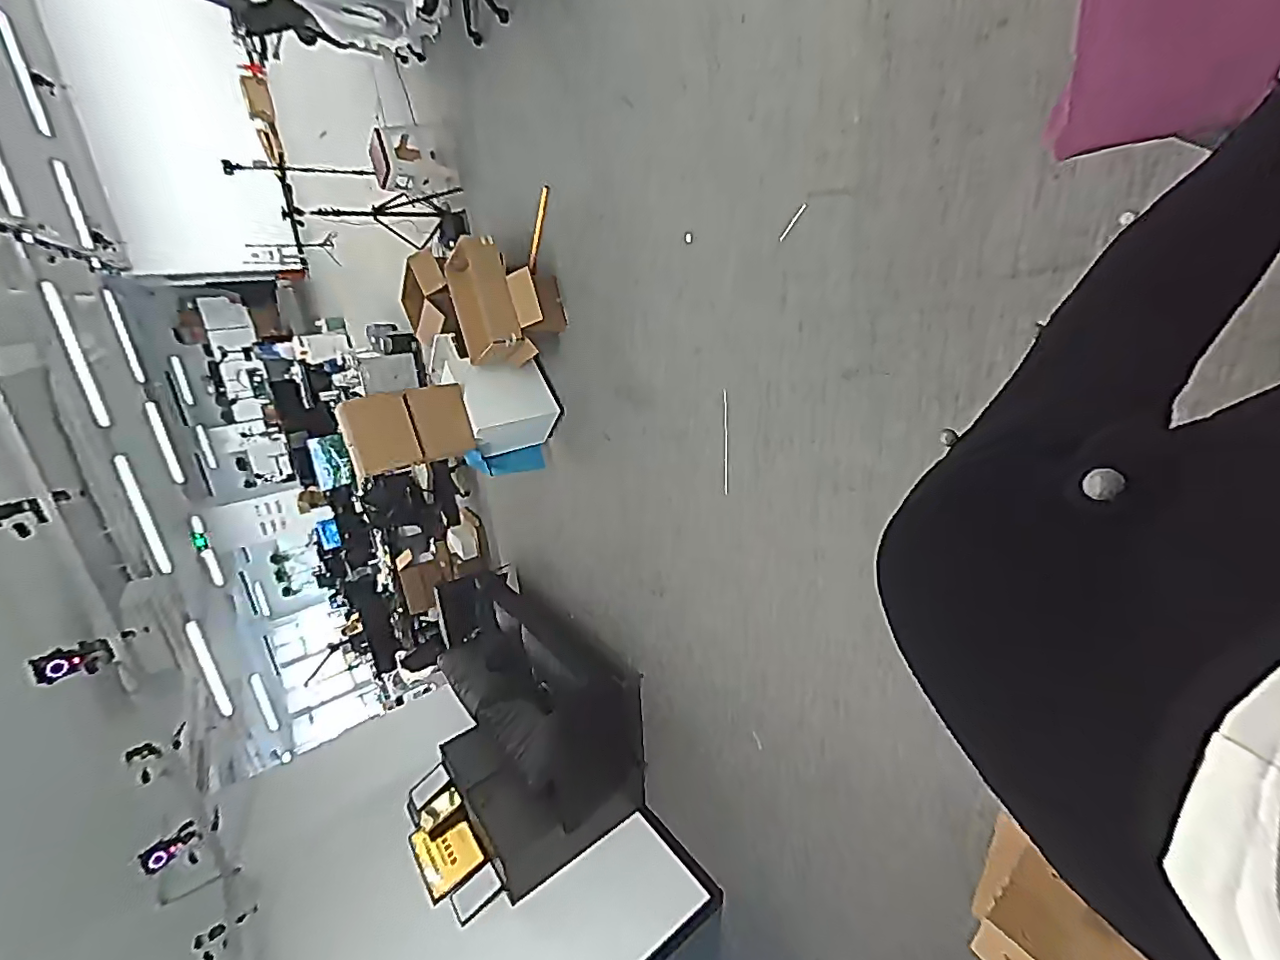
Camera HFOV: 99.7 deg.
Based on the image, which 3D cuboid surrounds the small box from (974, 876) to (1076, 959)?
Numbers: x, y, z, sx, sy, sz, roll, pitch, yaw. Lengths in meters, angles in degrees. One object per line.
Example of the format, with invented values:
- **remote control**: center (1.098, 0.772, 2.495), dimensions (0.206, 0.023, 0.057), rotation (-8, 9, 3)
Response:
- **small box**: center (1.122, 1.320, 1.574), dimensions (0.179, 0.176, 0.168), rotation (30, 128, 45)

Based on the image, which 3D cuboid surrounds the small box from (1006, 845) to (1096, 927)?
- **small box**: center (1.251, 1.272, 1.664), dimensions (0.179, 0.176, 0.168), rotation (28, 128, 46)
